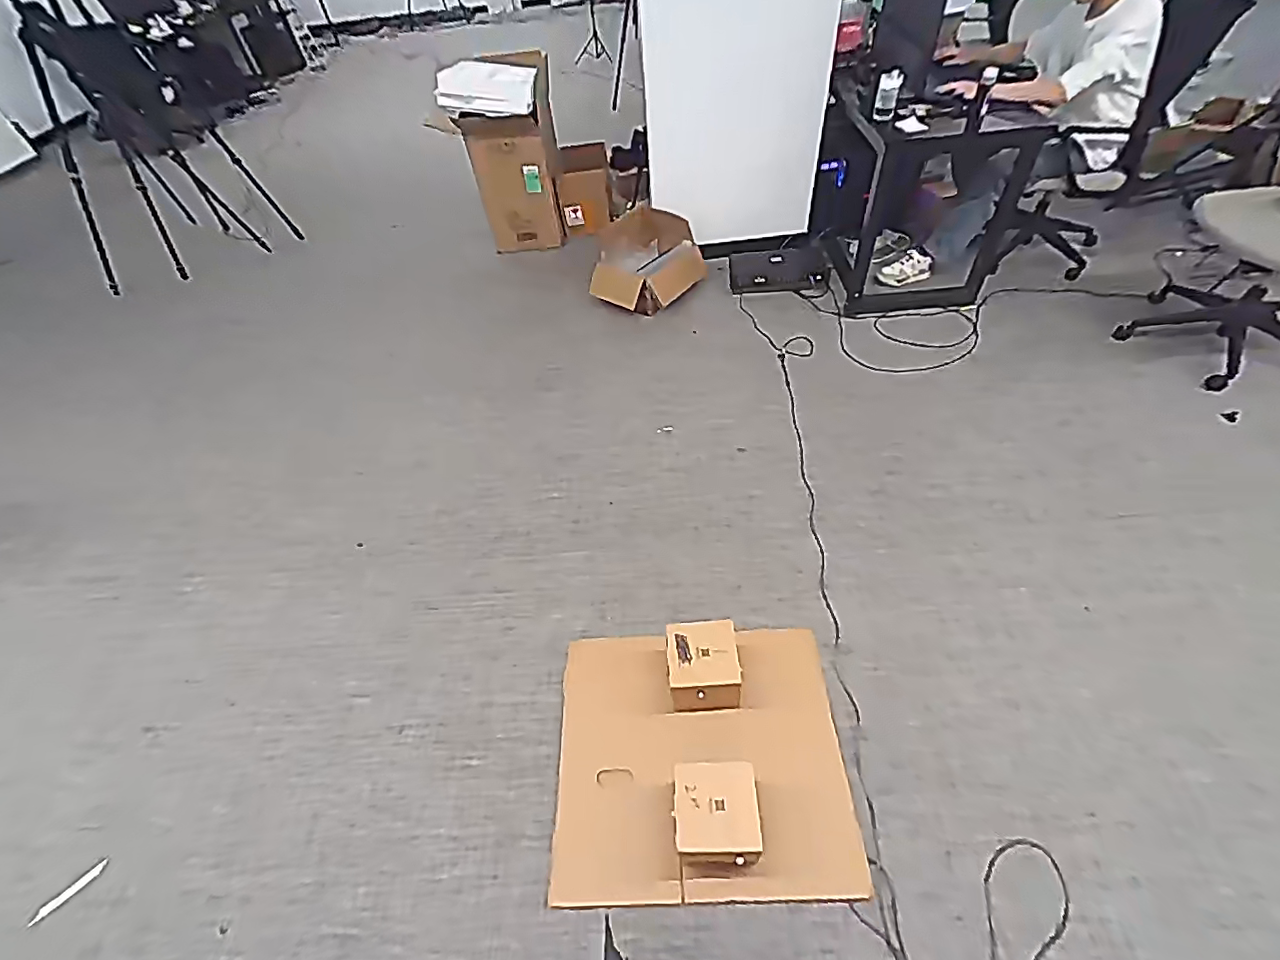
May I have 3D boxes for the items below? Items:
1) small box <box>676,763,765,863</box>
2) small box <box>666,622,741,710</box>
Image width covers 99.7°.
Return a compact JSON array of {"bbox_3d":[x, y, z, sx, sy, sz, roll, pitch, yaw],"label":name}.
[{"bbox_3d":[0.173,0.736,1.195,0.179,0.176,0.168,-5,49,6],"label":"small box"},{"bbox_3d":[0.165,0.489,1.409,0.179,0.176,0.168,-6,49,3],"label":"small box"}]
